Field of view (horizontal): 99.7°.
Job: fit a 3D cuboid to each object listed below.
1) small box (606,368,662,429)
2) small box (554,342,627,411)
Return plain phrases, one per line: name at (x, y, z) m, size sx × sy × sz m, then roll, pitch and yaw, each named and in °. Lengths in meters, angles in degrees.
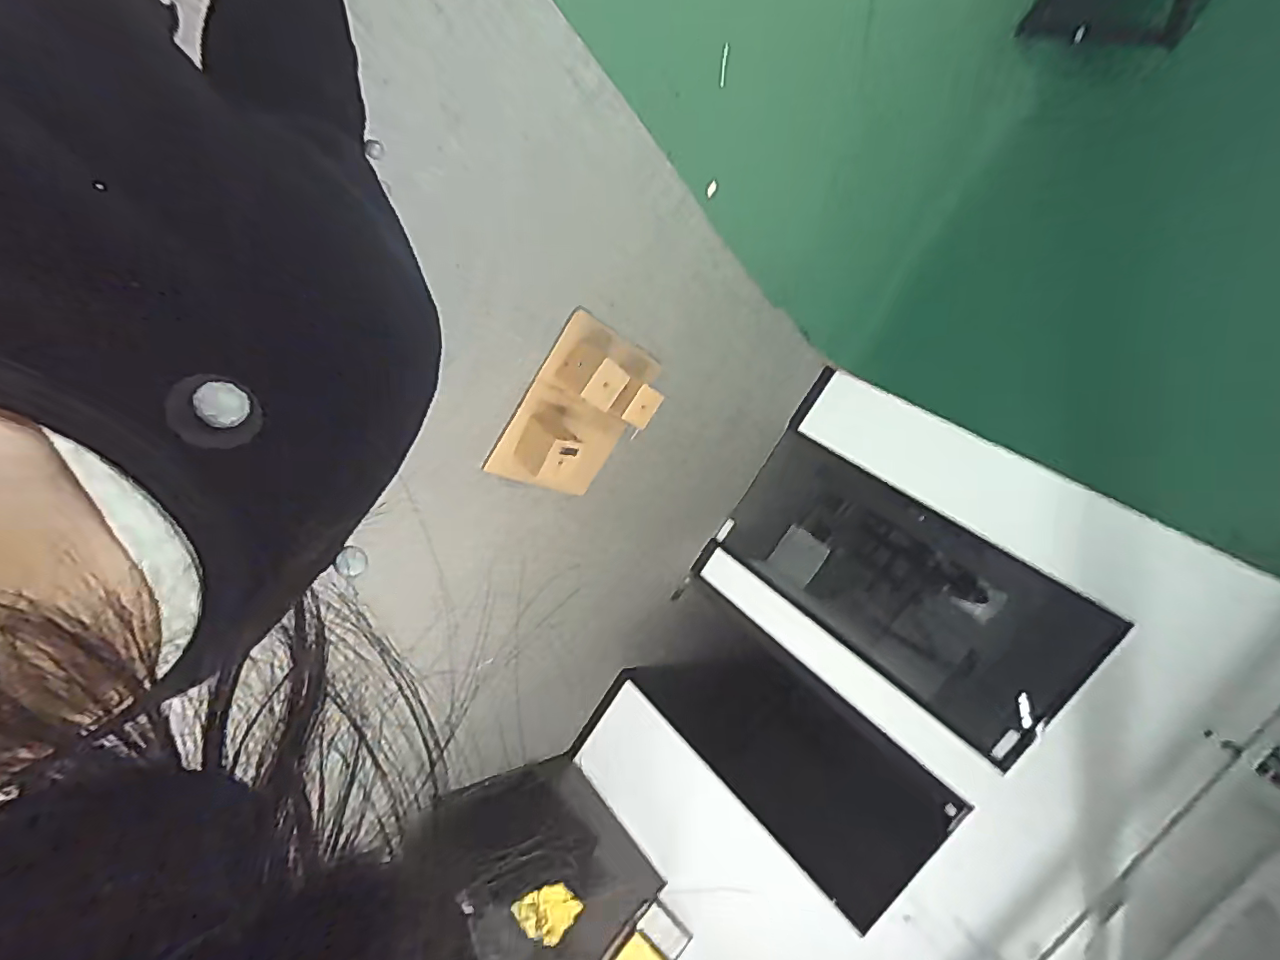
small box at (-0.050, -0.341, 2.230) m, size 0.168 × 0.176 × 0.179 m, roll -56°, pitch 148°, yaw 8°
small box at (-0.187, -0.388, 2.008) m, size 0.168 × 0.176 × 0.179 m, roll -54°, pitch 148°, yaw 5°
